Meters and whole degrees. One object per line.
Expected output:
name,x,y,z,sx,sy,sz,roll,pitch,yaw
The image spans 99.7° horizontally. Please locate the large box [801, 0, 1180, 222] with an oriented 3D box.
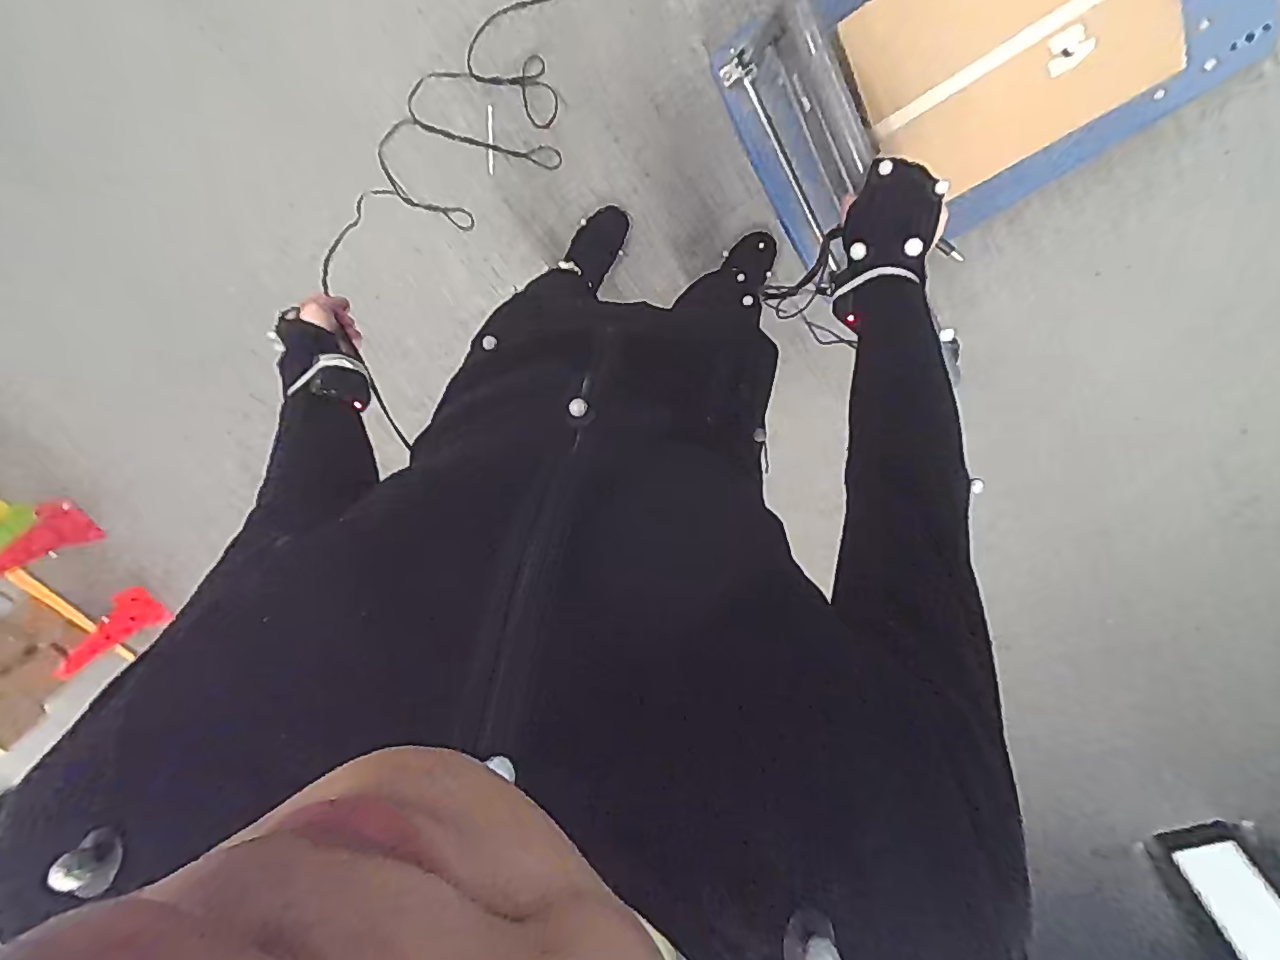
large box,0.540,-0.700,0.908,0.408,0.320,0.320,-26,116,19
